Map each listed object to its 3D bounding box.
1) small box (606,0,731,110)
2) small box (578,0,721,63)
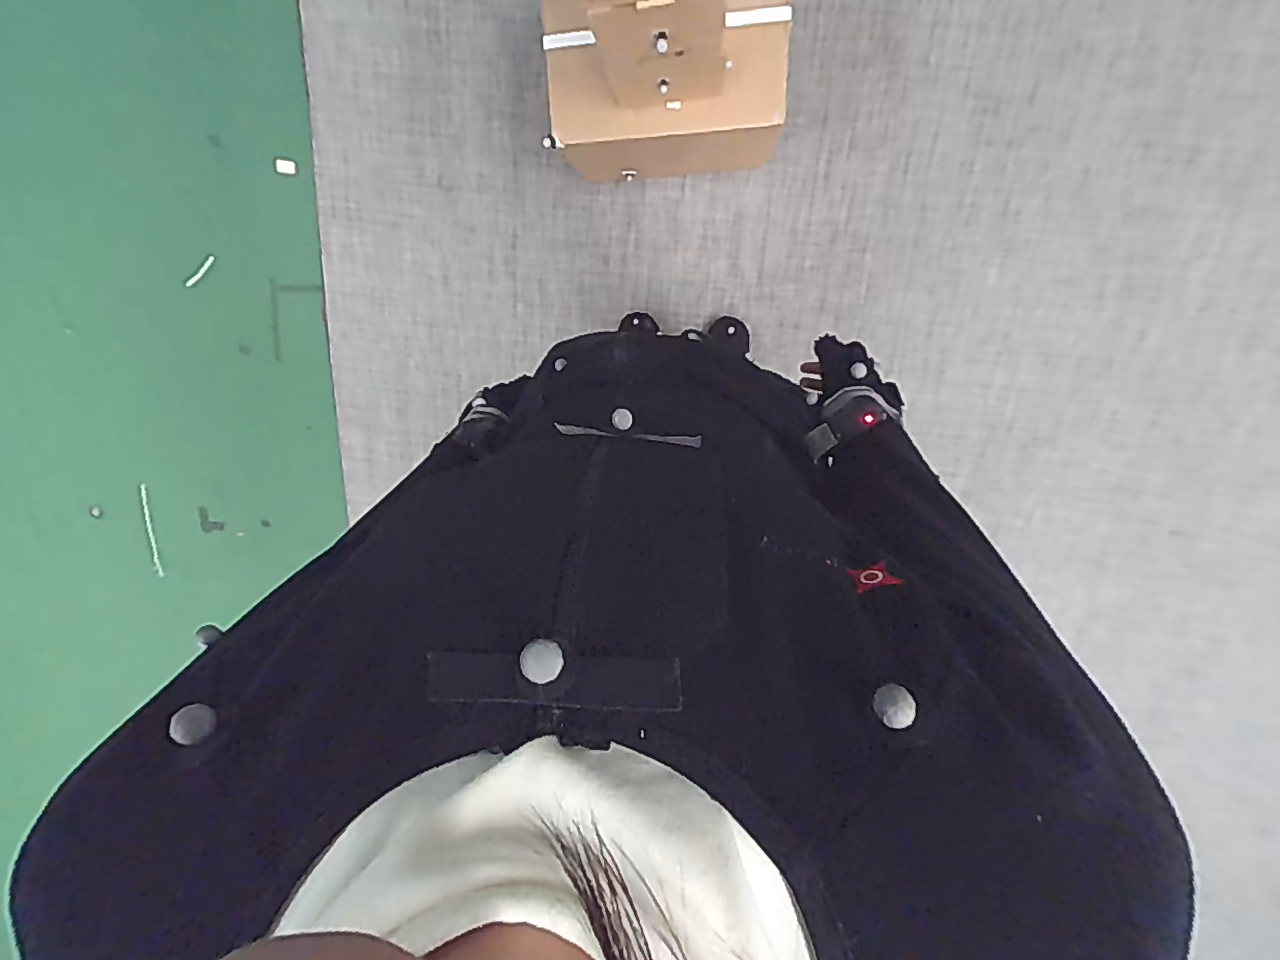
[{"bbox_3d":[0.037,-0.688,0.812,0.179,0.176,0.168,-6,107,8],"label":"small box"},{"bbox_3d":[0.013,-0.643,0.657,0.168,0.176,0.179,-3,108,8],"label":"small box"}]
